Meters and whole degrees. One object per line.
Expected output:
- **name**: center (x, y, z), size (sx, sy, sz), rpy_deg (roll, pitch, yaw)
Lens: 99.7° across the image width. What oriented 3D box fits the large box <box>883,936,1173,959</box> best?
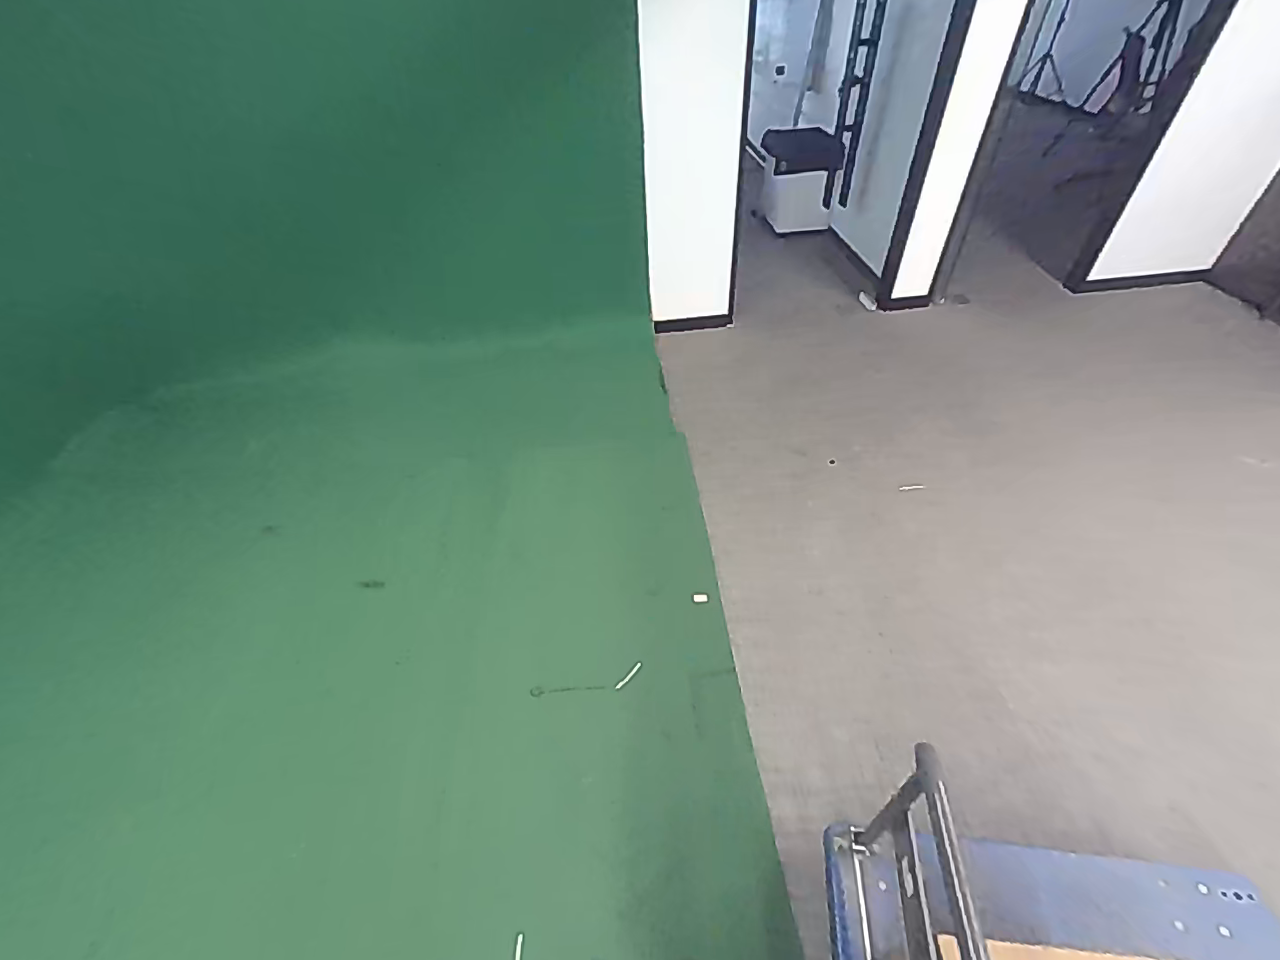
- **large box**: center (0.660, 0.962, 0.858), size (0.408, 0.320, 0.320), rpy_deg (3, 46, 5)
